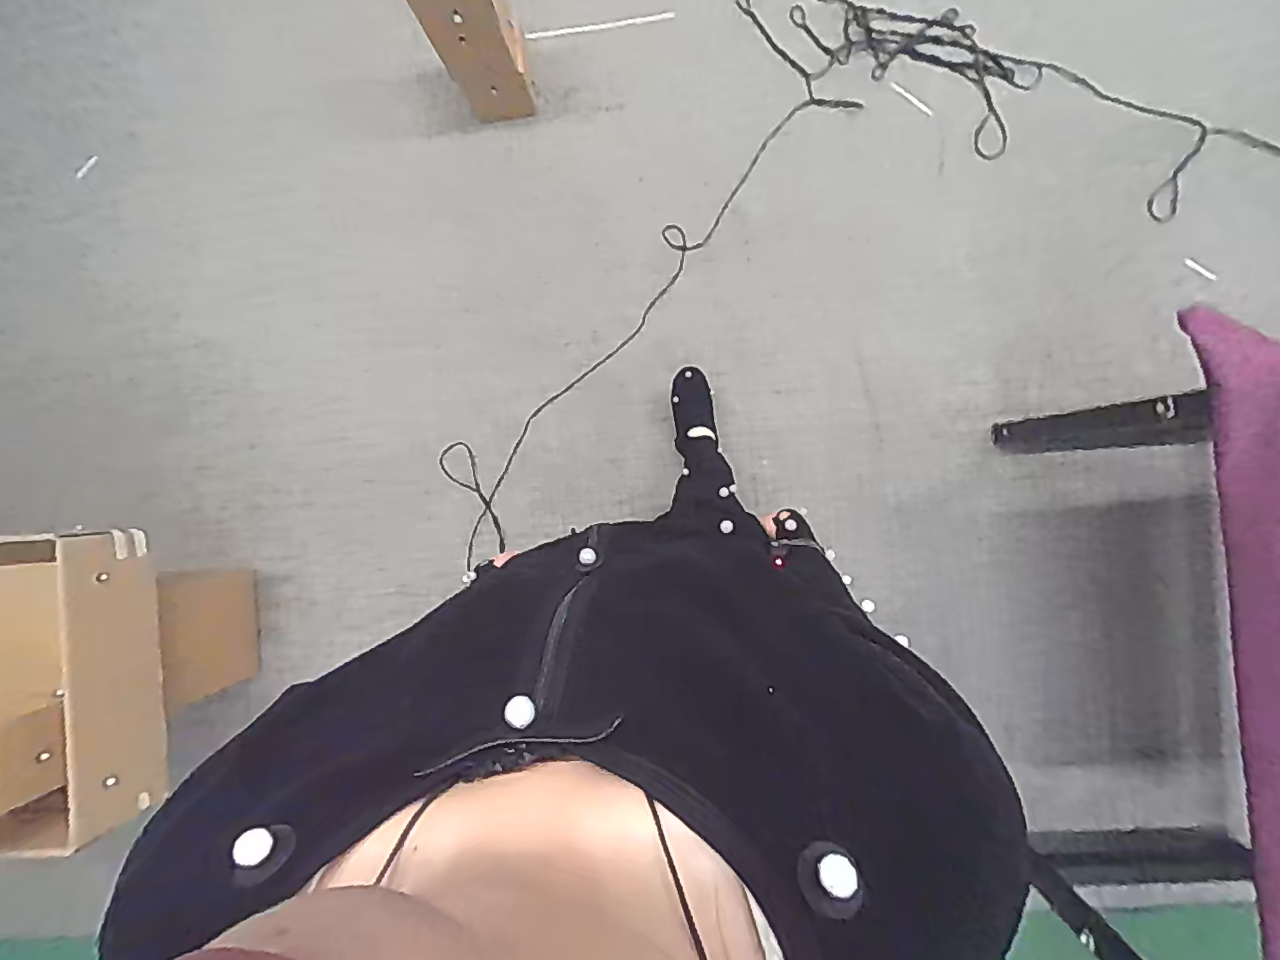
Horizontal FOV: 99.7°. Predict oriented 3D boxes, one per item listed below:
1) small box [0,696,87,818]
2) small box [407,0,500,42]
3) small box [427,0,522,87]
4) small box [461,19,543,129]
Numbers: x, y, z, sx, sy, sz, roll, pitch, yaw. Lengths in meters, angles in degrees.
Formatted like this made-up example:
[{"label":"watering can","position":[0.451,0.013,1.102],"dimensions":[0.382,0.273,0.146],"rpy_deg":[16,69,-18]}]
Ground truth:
[{"label":"small box","position":[-1.268,0.547,1.083],"dimensions":[0.168,0.176,0.179],"rpy_deg":[-2,90,4]},{"label":"small box","position":[-0.405,-1.082,1.145],"dimensions":[0.179,0.176,0.168],"rpy_deg":[-7,89,4]},{"label":"small box","position":[-0.399,-1.095,1.308],"dimensions":[0.179,0.176,0.168],"rpy_deg":[-5,90,4]},{"label":"small box","position":[-0.377,-1.093,1.472],"dimensions":[0.179,0.176,0.168],"rpy_deg":[-5,89,4]}]
